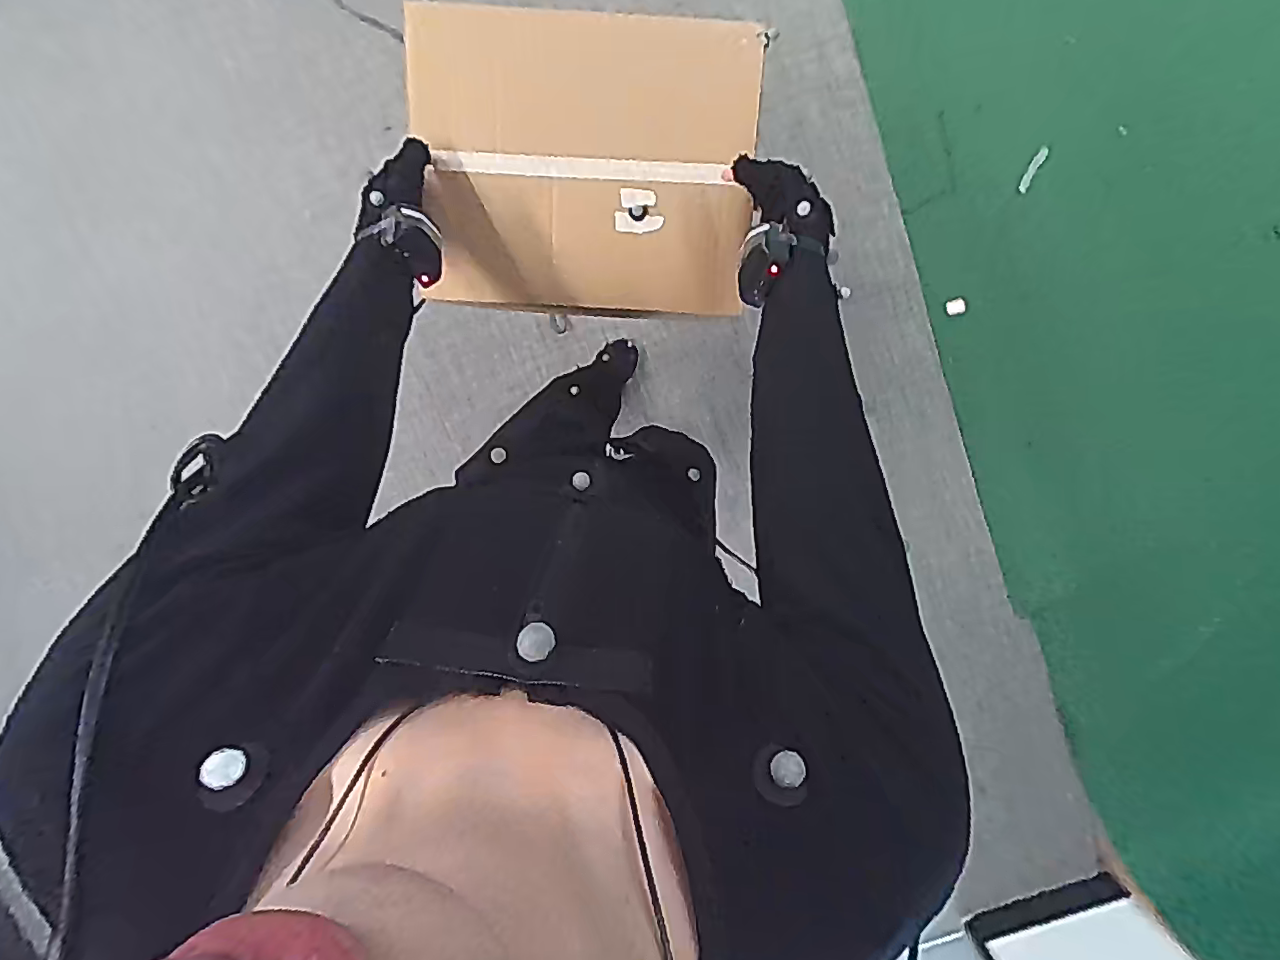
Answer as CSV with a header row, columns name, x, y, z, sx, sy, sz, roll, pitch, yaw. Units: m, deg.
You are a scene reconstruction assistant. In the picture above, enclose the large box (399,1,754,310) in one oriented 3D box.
name,x,y,z,sx,sy,sz,roll,pitch,yaw
large box,-0.079,-0.415,0.783,0.408,0.320,0.320,1,106,-3
